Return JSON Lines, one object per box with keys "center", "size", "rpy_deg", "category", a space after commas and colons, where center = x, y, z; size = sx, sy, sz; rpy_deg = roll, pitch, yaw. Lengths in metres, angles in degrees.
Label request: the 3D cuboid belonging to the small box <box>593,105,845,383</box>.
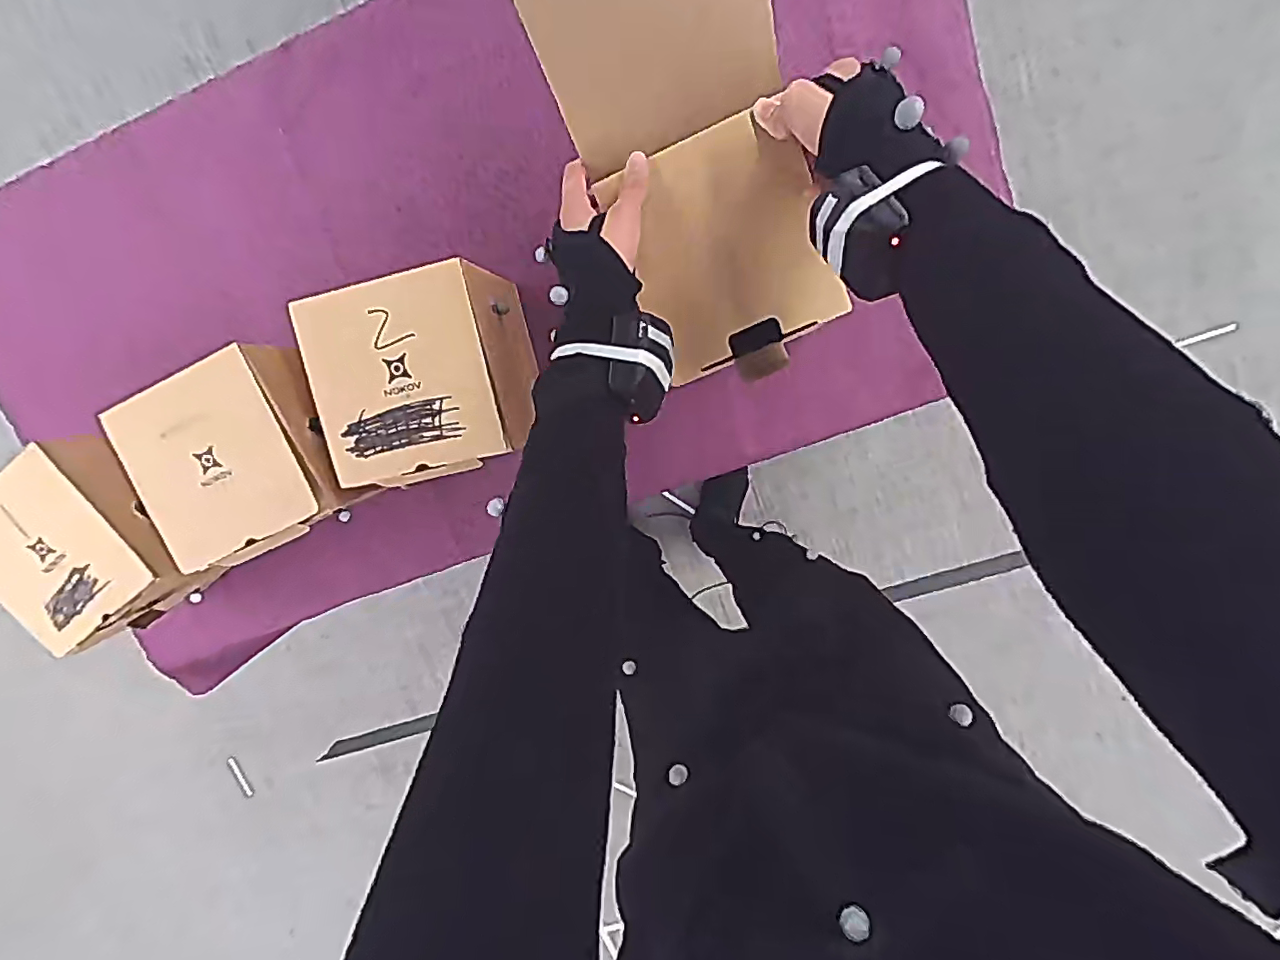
{"center": [0.071, -0.202, 0.524], "size": [0.168, 0.176, 0.179], "rpy_deg": [-21, 97, 9], "category": "small box"}
